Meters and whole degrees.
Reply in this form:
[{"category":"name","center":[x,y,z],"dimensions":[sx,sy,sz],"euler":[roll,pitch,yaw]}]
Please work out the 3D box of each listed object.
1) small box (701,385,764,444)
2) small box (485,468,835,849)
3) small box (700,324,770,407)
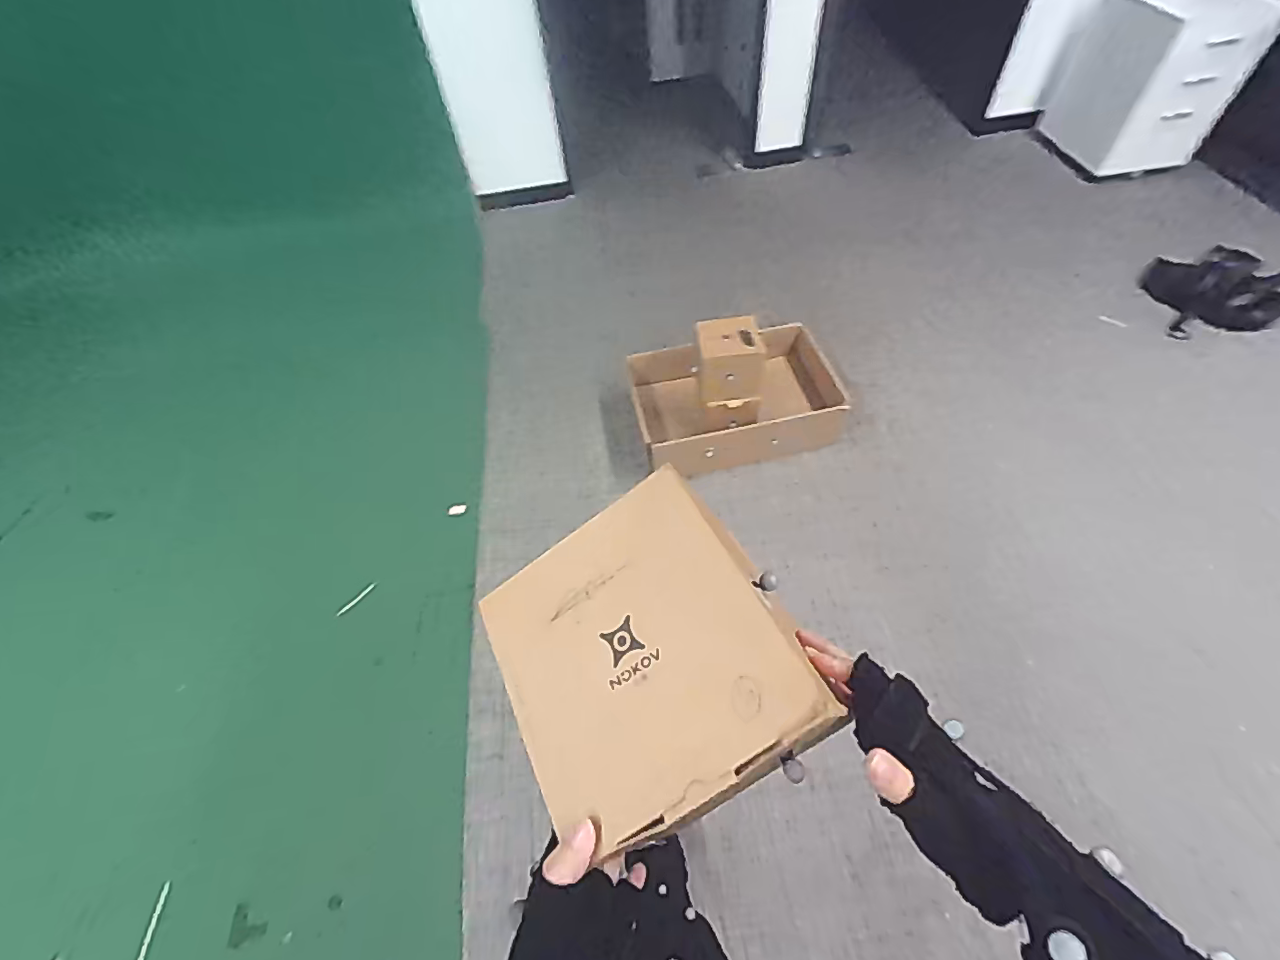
[{"category":"small box","center":[0.286,-0.225,1.701],"dimensions":[0.168,0.176,0.179],"euler":[-6,53,0]},{"category":"small box","center":[0.020,0.128,0.396],"dimensions":[0.168,0.176,0.179],"euler":[-34,54,7]},{"category":"small box","center":[0.269,-0.330,1.575],"dimensions":[0.179,0.176,0.168],"euler":[-5,52,2]}]
